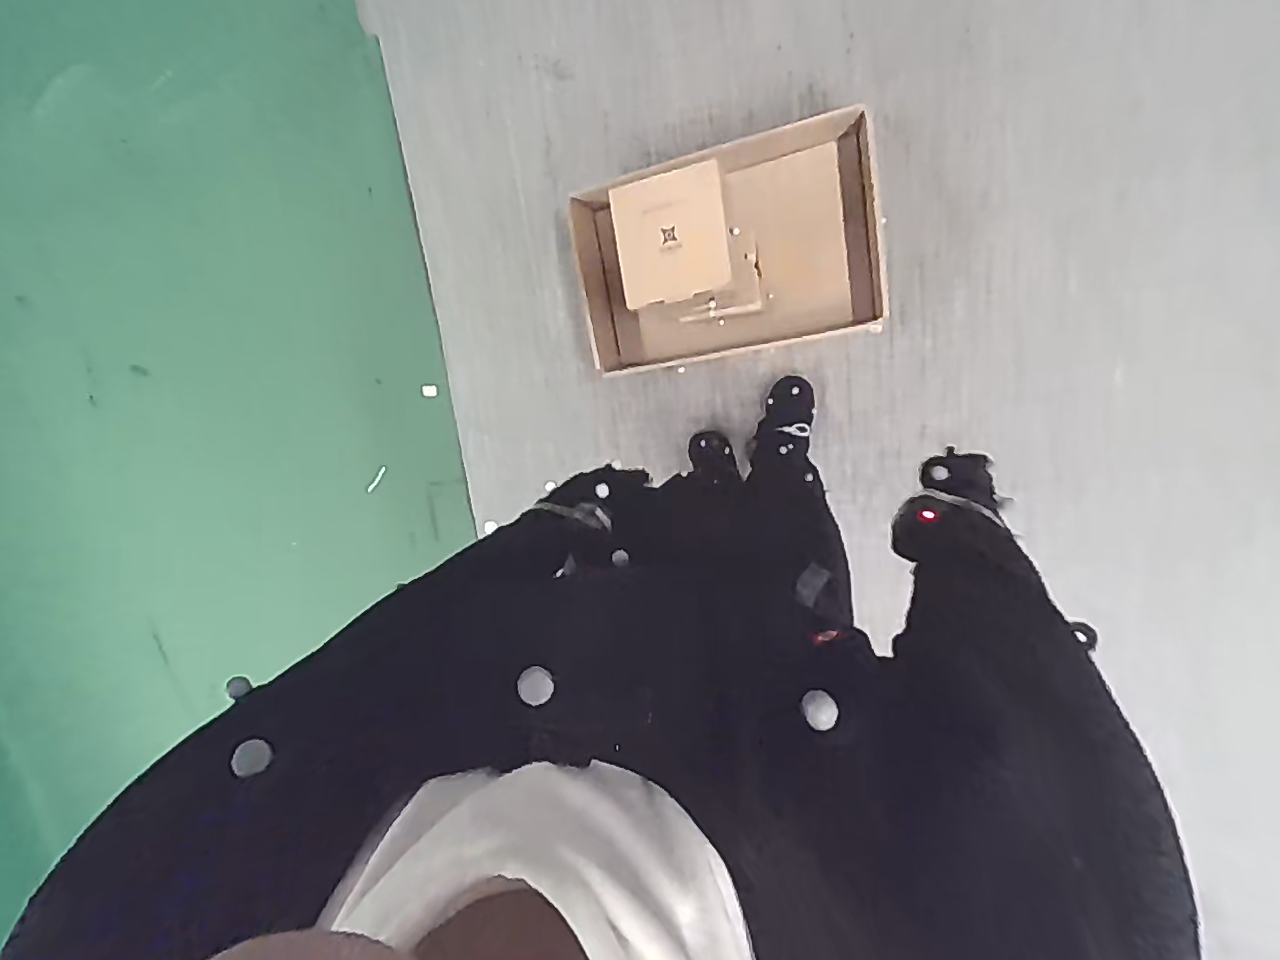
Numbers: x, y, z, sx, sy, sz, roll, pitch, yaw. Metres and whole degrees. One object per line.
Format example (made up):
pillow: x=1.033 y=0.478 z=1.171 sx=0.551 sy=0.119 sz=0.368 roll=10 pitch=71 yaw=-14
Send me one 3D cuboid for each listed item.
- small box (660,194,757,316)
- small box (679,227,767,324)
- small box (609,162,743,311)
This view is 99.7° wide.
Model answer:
small box: x=0.123 y=-0.419 z=1.039 sx=0.168 sy=0.176 sz=0.179 roll=-8 pitch=100 yaw=21
small box: x=0.182 y=-0.440 z=1.187 sx=0.179 sy=0.176 sz=0.168 roll=-3 pitch=102 yaw=20
small box: x=0.067 y=-0.375 z=0.872 sx=0.168 sy=0.176 sz=0.179 roll=-6 pitch=100 yaw=19
